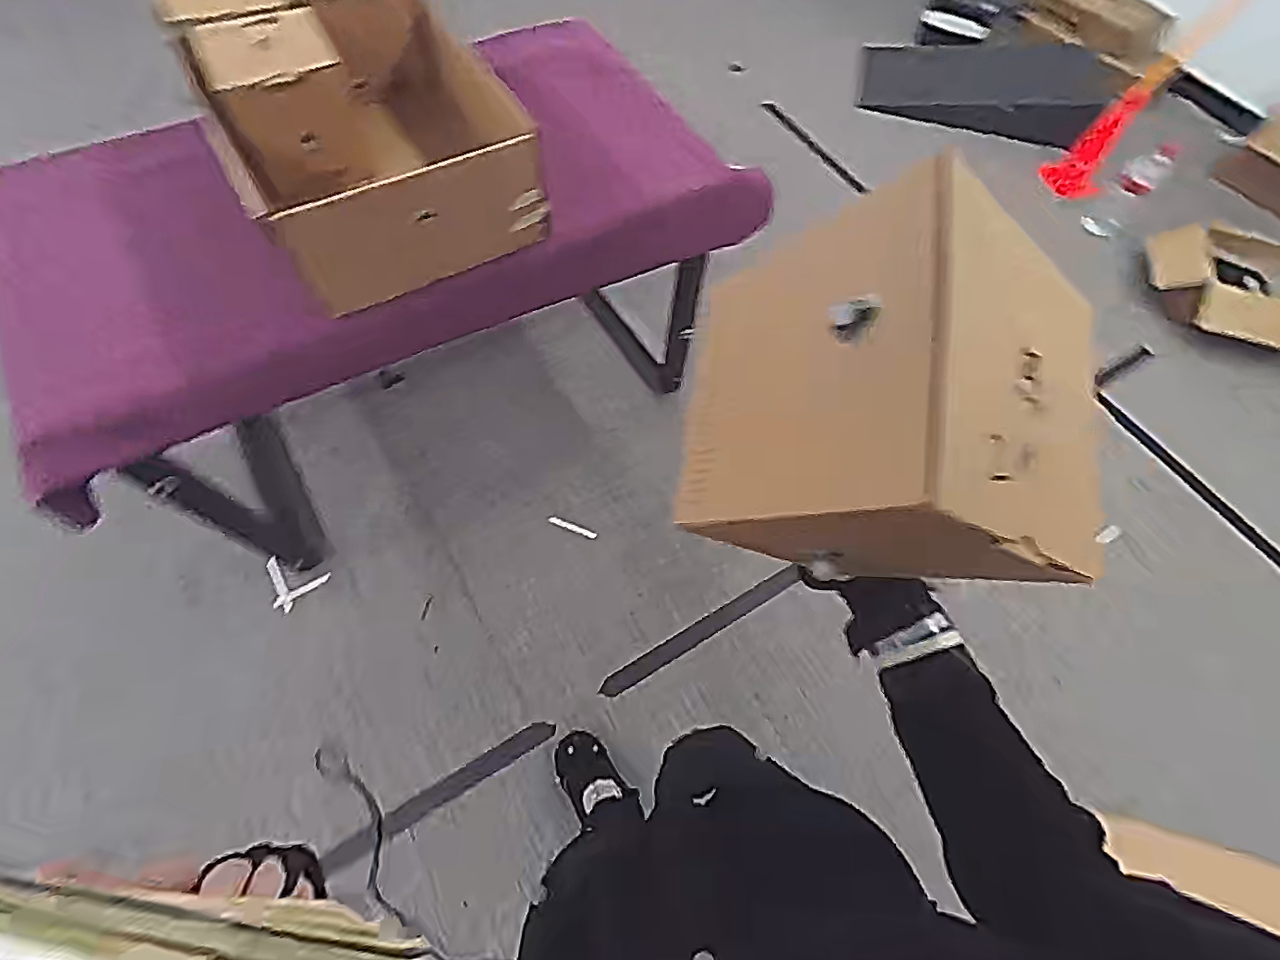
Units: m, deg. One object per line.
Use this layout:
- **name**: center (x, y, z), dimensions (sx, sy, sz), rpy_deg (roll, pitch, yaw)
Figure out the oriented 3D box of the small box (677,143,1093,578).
- **small box**: center (0.141, -0.043, 0.333), dimensions (0.168, 0.176, 0.179), rpy_deg (18, 75, -30)
